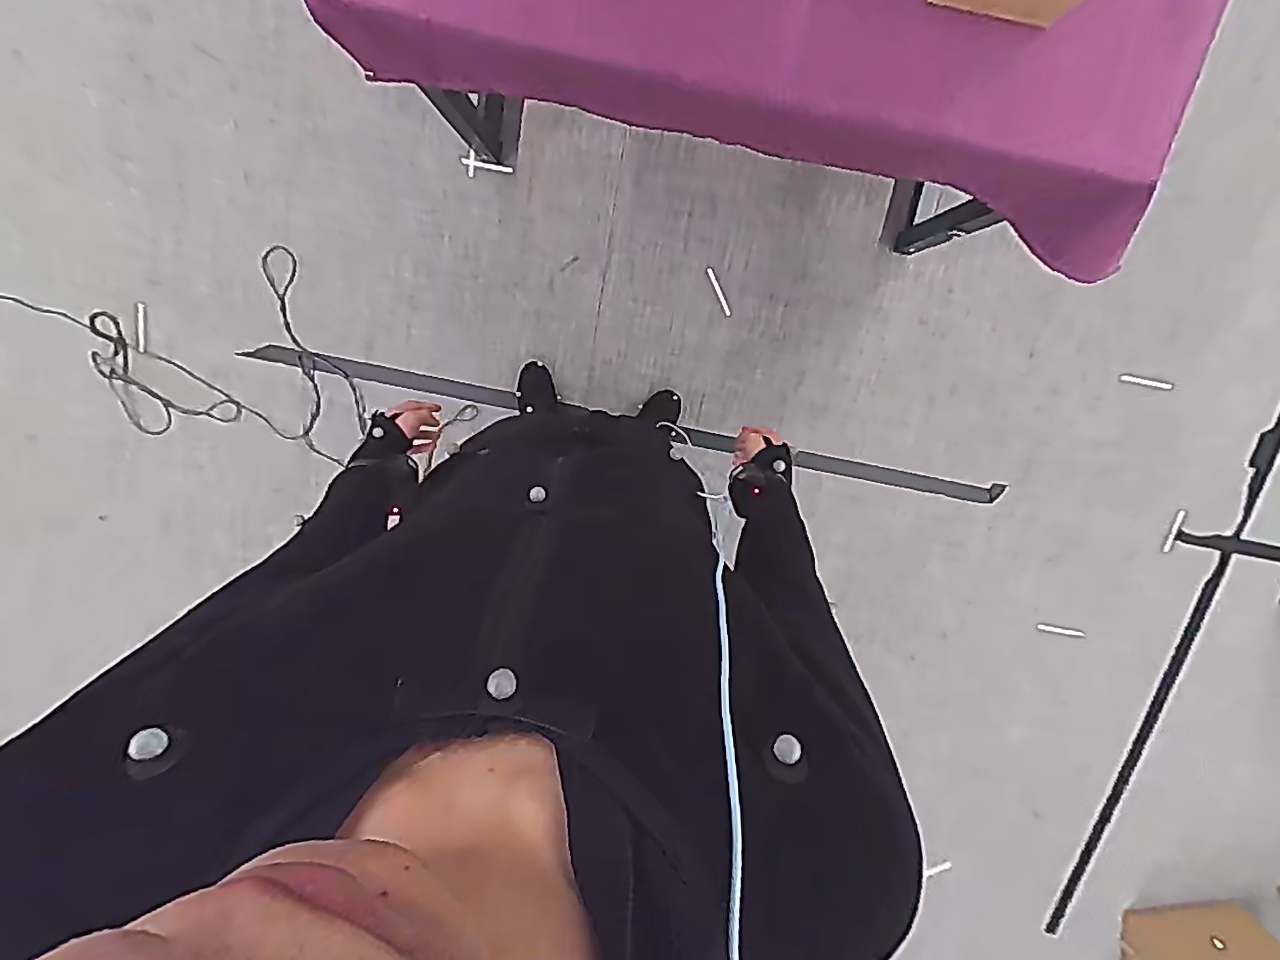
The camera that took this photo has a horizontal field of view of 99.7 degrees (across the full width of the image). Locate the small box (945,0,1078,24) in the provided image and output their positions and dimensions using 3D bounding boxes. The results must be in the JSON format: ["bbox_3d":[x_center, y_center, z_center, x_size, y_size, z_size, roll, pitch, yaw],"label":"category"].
[{"bbox_3d":[0.486,-0.683,0.631,0.179,0.176,0.168,10,104,-3],"label":"small box"}]
